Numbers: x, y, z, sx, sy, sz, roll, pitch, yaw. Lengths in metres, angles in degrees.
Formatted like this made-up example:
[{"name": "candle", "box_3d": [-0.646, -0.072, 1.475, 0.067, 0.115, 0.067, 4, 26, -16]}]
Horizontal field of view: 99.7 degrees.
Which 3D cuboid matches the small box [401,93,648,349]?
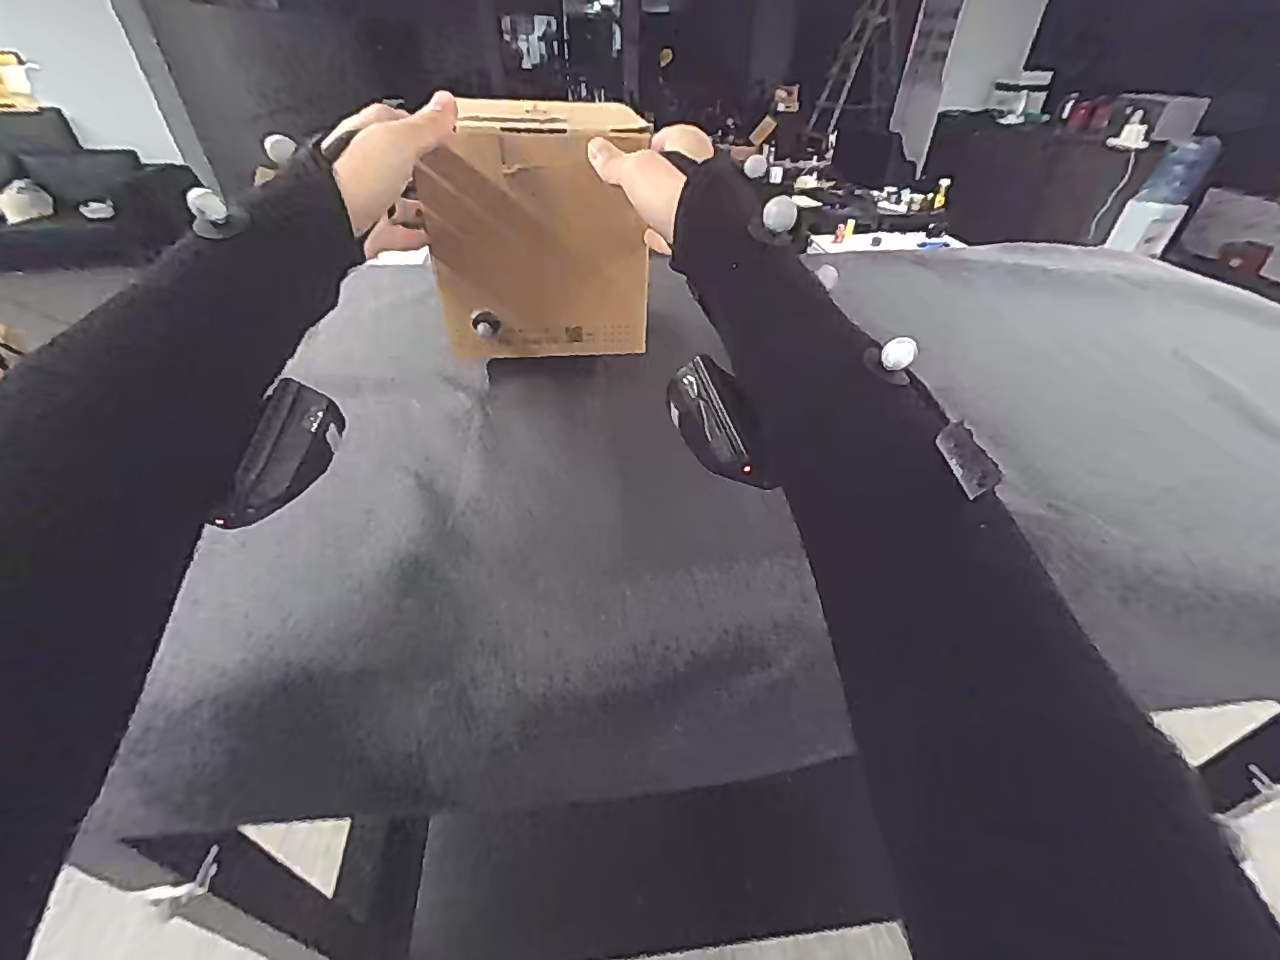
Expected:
[{"name": "small box", "box_3d": [-0.085, -0.223, 0.466, 0.168, 0.176, 0.179, -3, 40, -7]}]
